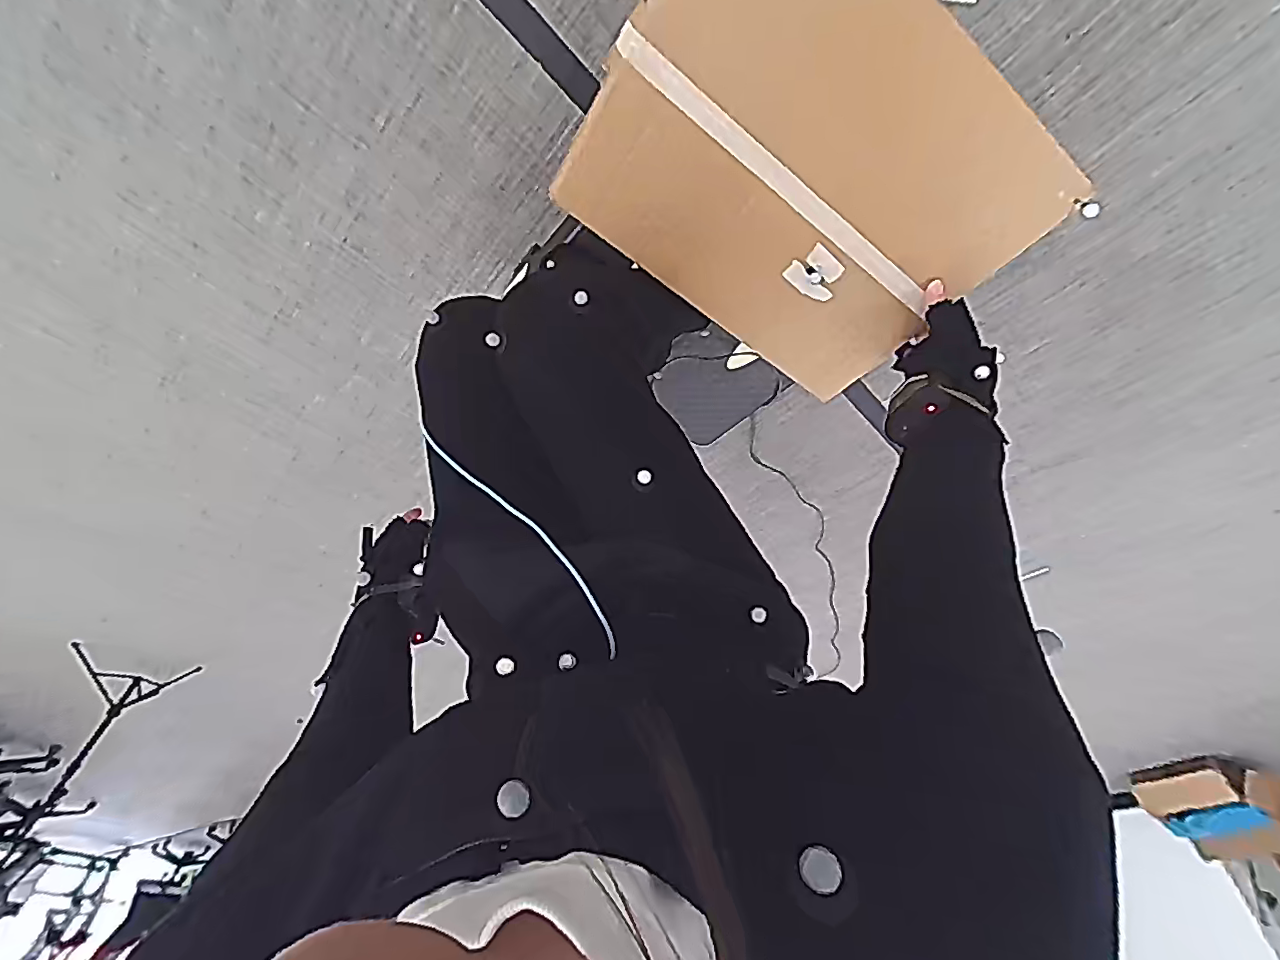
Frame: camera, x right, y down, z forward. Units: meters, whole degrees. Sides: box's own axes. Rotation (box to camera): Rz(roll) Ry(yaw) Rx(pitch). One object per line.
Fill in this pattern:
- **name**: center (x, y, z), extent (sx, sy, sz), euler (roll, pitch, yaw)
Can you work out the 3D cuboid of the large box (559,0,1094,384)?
- **large box**: center (0.180, -0.395, 0.618), extent (0.408, 0.320, 0.320), euler (30, 136, -18)
